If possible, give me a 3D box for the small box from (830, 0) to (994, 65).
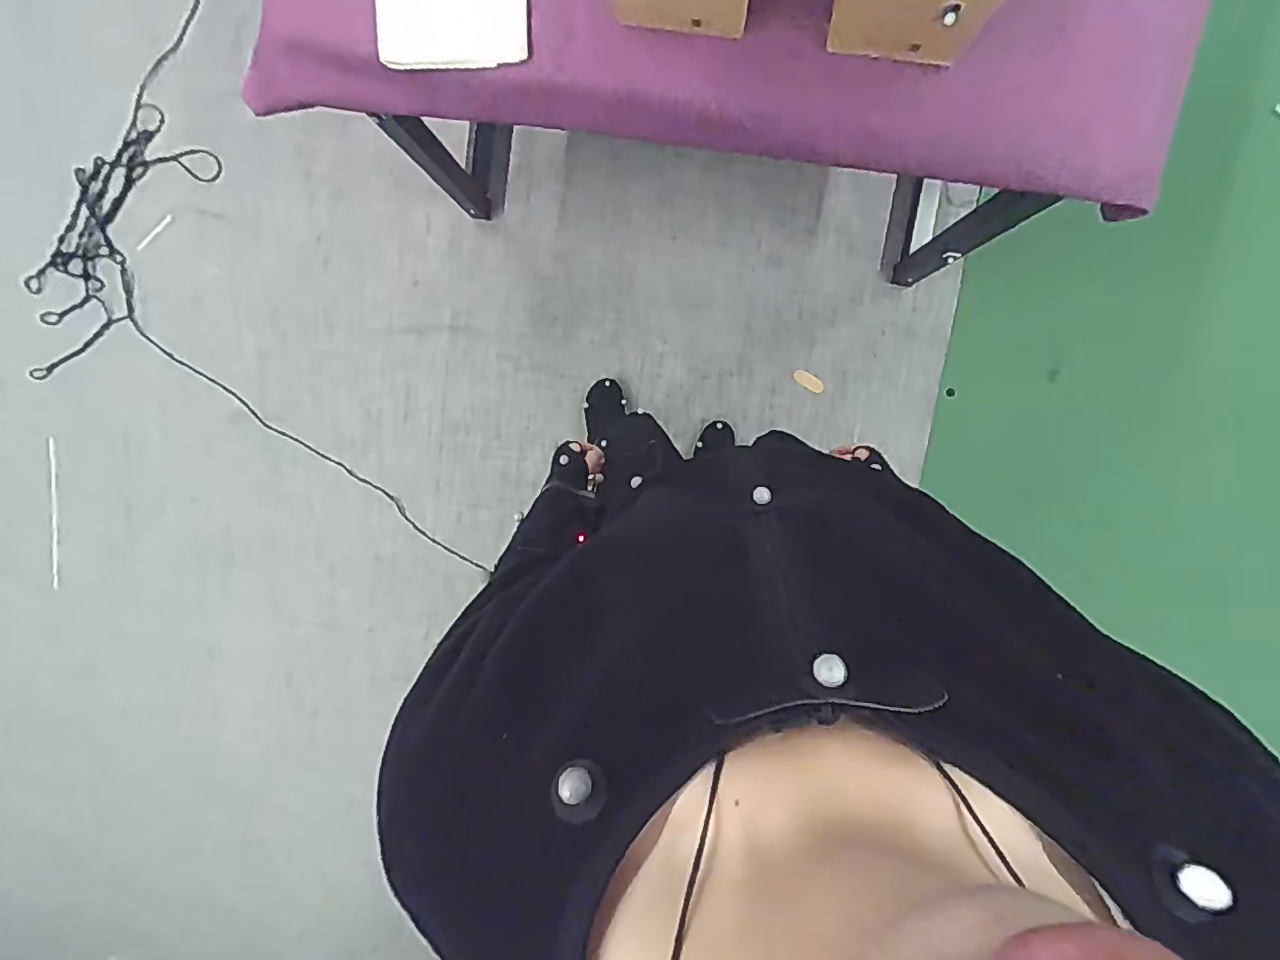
[{"bbox_3d":[0.329,-0.620,0.612,0.168,0.176,0.179,10,95,2],"label":"small box"}]
